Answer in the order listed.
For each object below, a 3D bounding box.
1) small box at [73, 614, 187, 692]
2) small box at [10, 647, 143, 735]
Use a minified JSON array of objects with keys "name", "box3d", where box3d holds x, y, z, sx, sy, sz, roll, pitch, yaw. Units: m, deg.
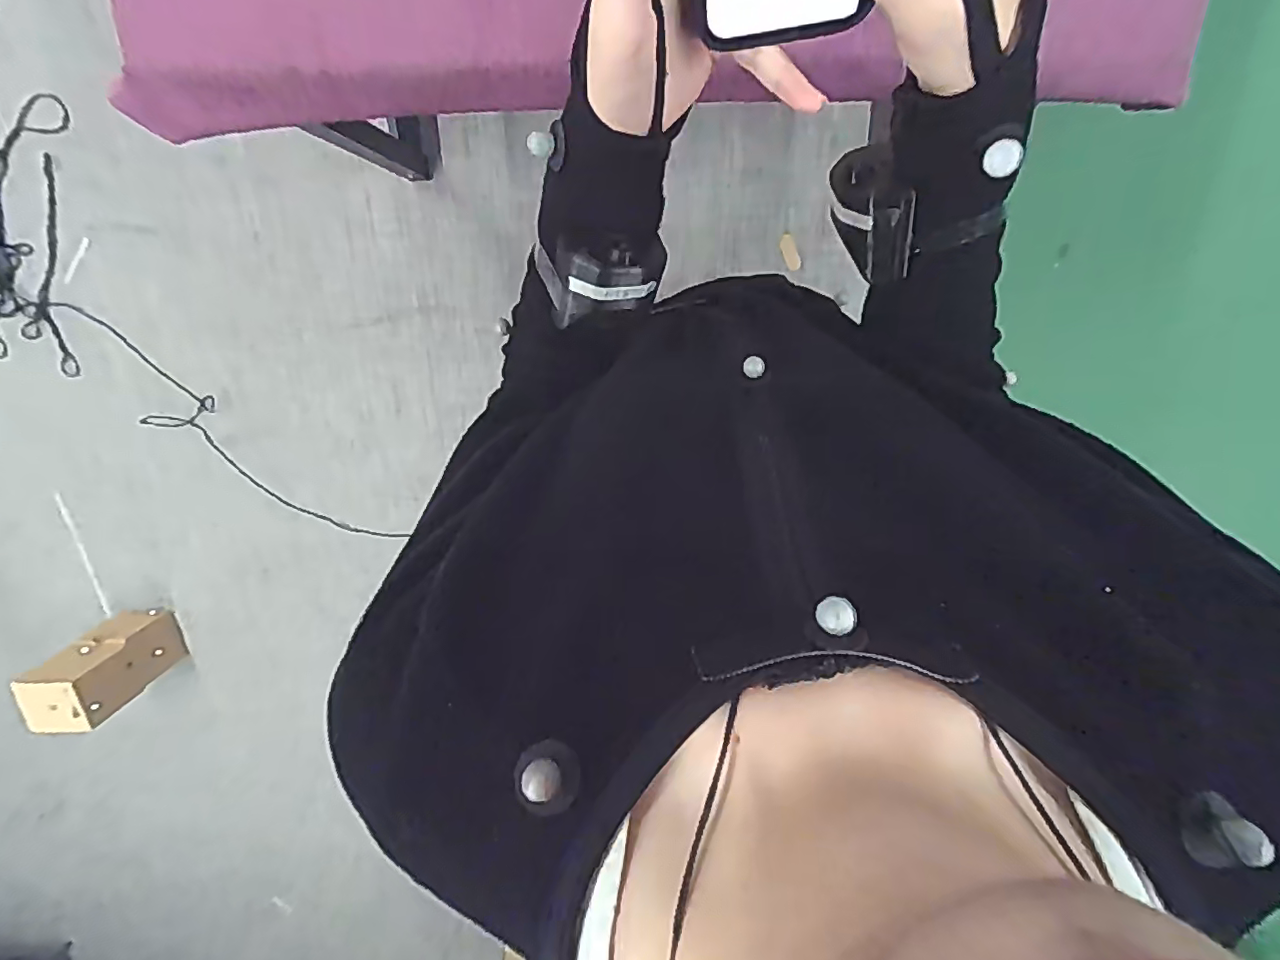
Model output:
[{"name":"small box","box3d":[-1.568,0.530,1.674,0.168,0.176,0.179,-2,109,3]},{"name":"small box","box3d":[-1.573,0.588,1.521,0.179,0.176,0.168,0,109,3]}]
